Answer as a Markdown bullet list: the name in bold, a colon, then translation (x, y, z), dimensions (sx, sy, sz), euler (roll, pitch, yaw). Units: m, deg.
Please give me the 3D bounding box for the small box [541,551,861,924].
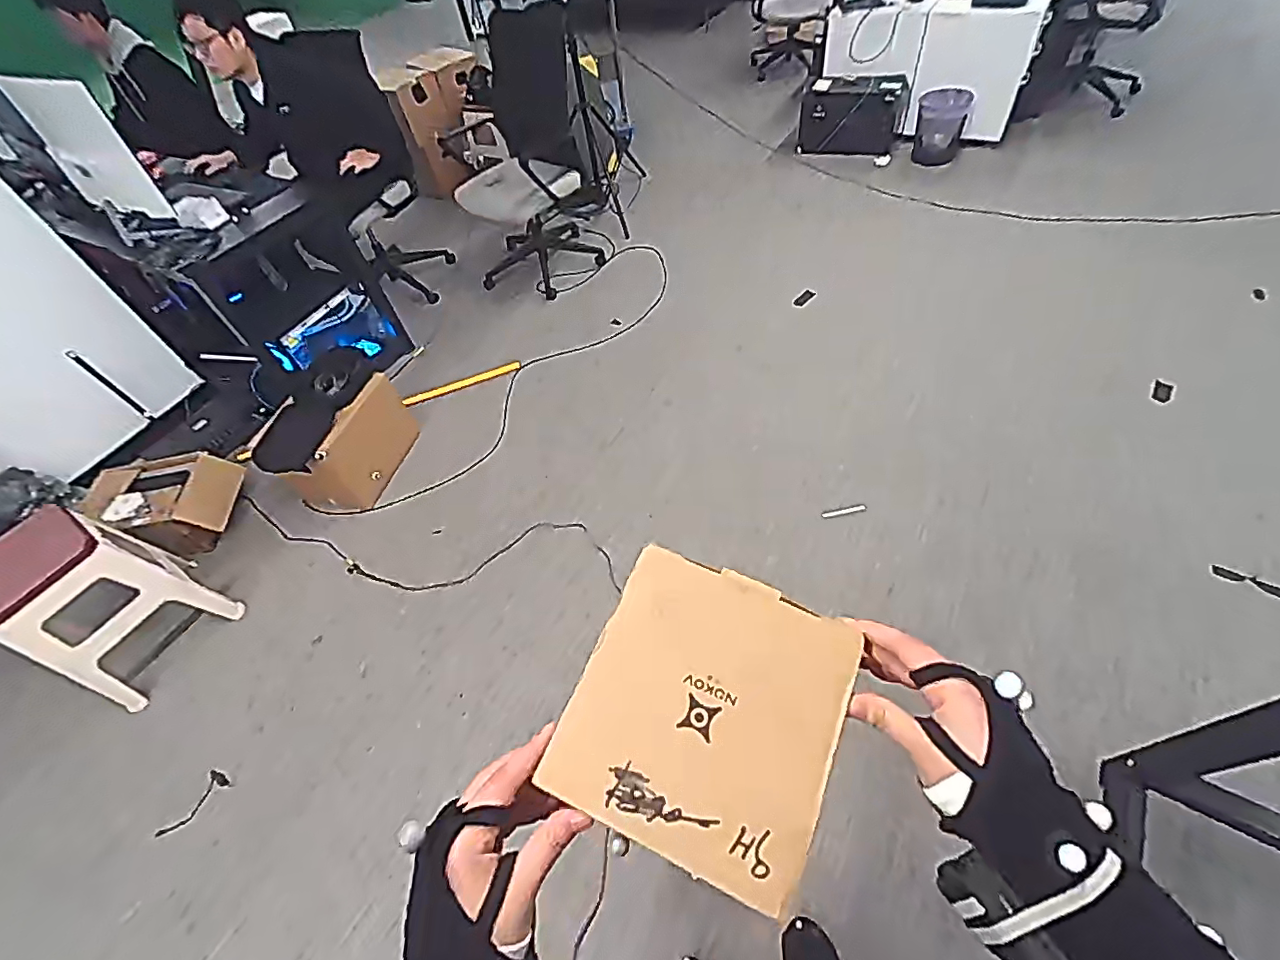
- **small box**: translation (0.048, 0.188, 0.425), dimensions (0.168, 0.176, 0.179), euler (21, 66, 14)
